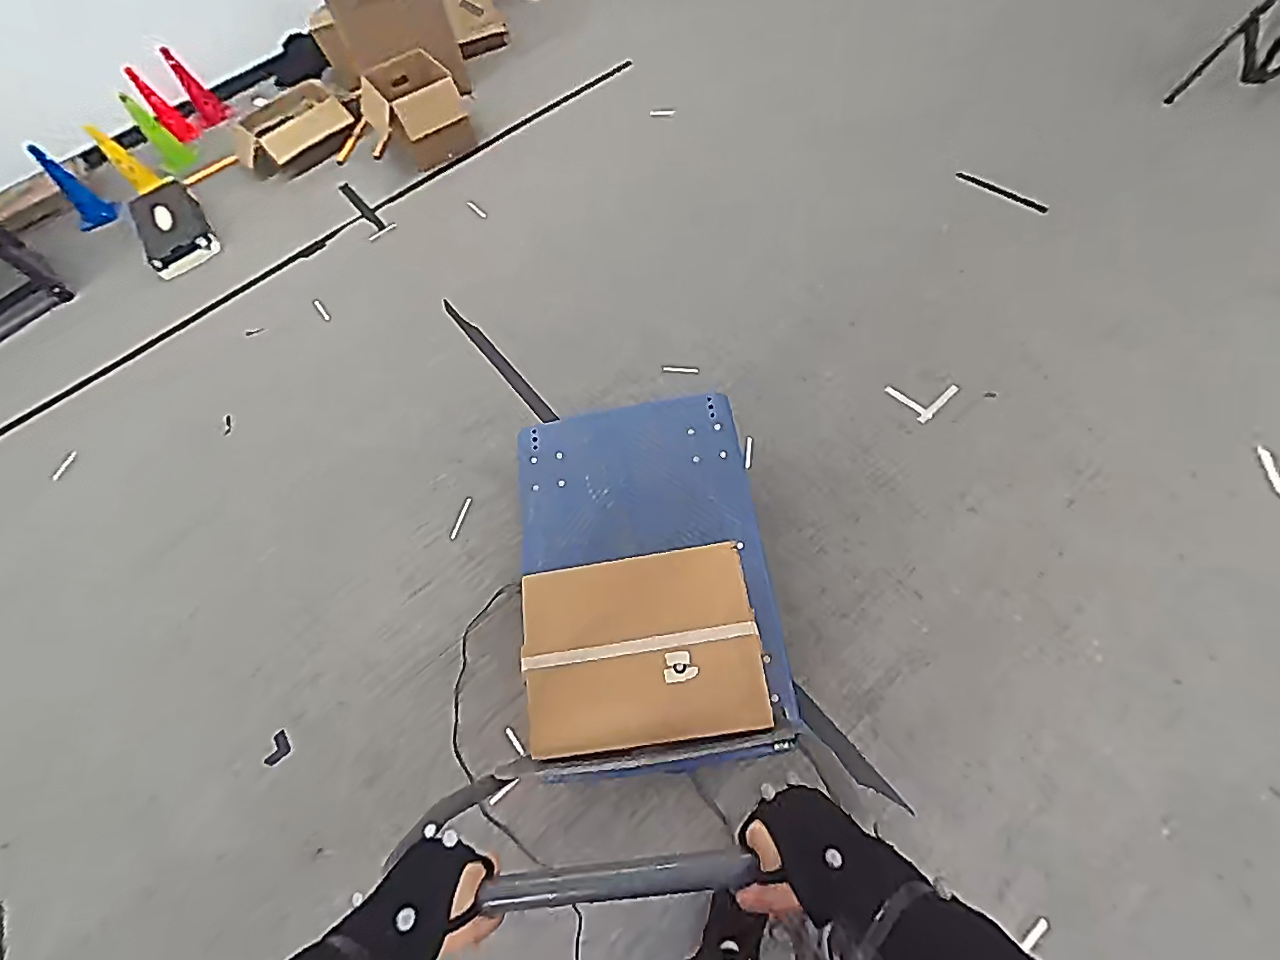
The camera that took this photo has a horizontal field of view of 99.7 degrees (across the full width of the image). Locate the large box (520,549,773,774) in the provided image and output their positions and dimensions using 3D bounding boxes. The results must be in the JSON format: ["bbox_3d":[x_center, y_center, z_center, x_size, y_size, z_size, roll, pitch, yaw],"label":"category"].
[{"bbox_3d":[0.013,0.357,1.058,0.408,0.320,0.320,-11,67,3],"label":"large box"}]
